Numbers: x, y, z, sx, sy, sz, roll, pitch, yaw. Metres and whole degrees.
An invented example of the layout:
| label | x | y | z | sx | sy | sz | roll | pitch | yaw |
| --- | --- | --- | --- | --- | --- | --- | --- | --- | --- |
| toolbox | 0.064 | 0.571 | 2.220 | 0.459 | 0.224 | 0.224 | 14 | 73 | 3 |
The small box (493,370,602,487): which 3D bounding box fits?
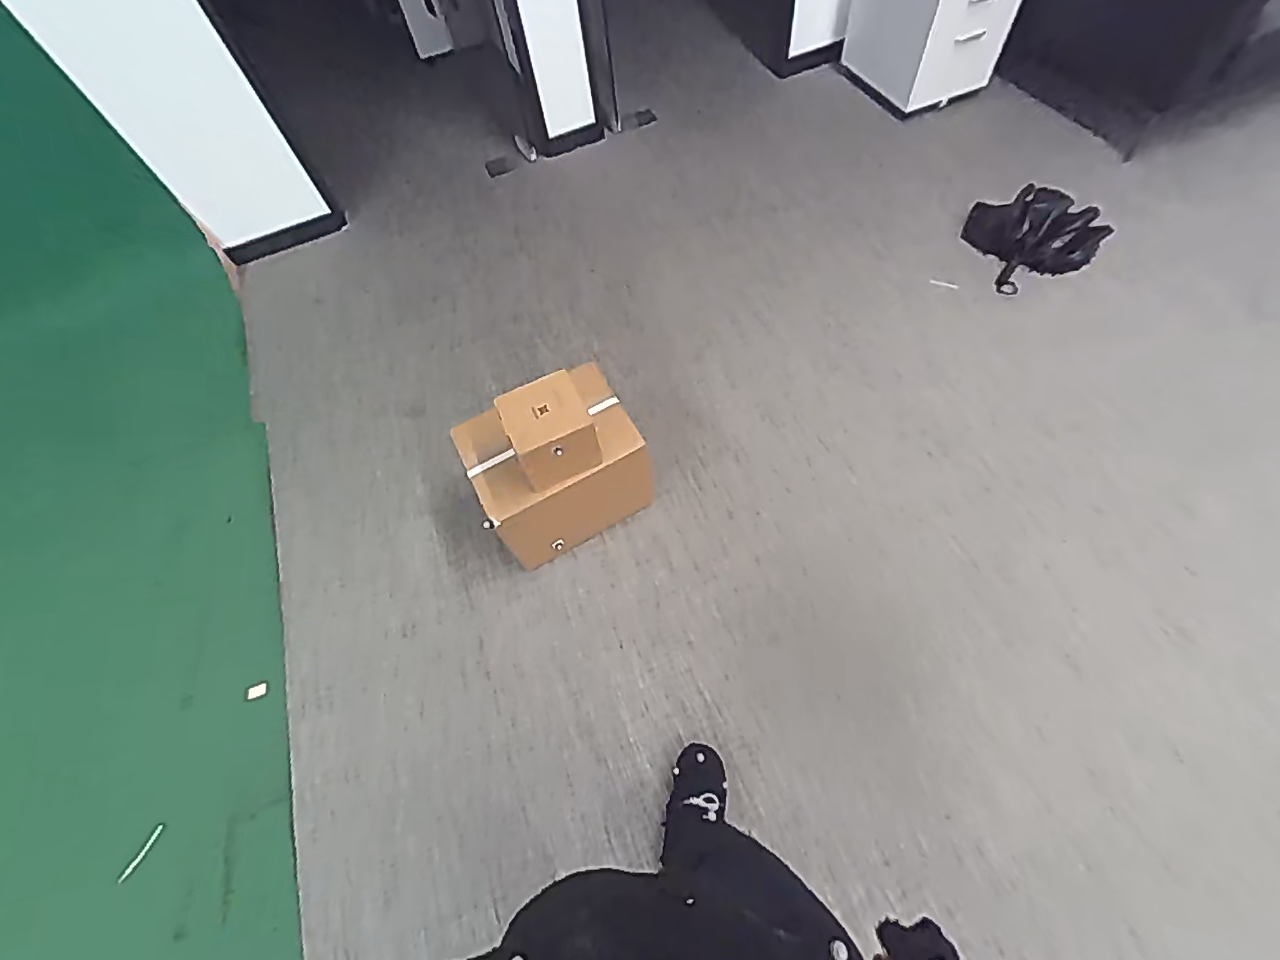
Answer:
| label | x | y | z | sx | sy | sz | roll | pitch | yaw |
| --- | --- | --- | --- | --- | --- | --- | --- | --- | --- |
| small box | -0.202 | -0.109 | 1.217 | 0.179 | 0.176 | 0.168 | -25 | 64 | -9 |
